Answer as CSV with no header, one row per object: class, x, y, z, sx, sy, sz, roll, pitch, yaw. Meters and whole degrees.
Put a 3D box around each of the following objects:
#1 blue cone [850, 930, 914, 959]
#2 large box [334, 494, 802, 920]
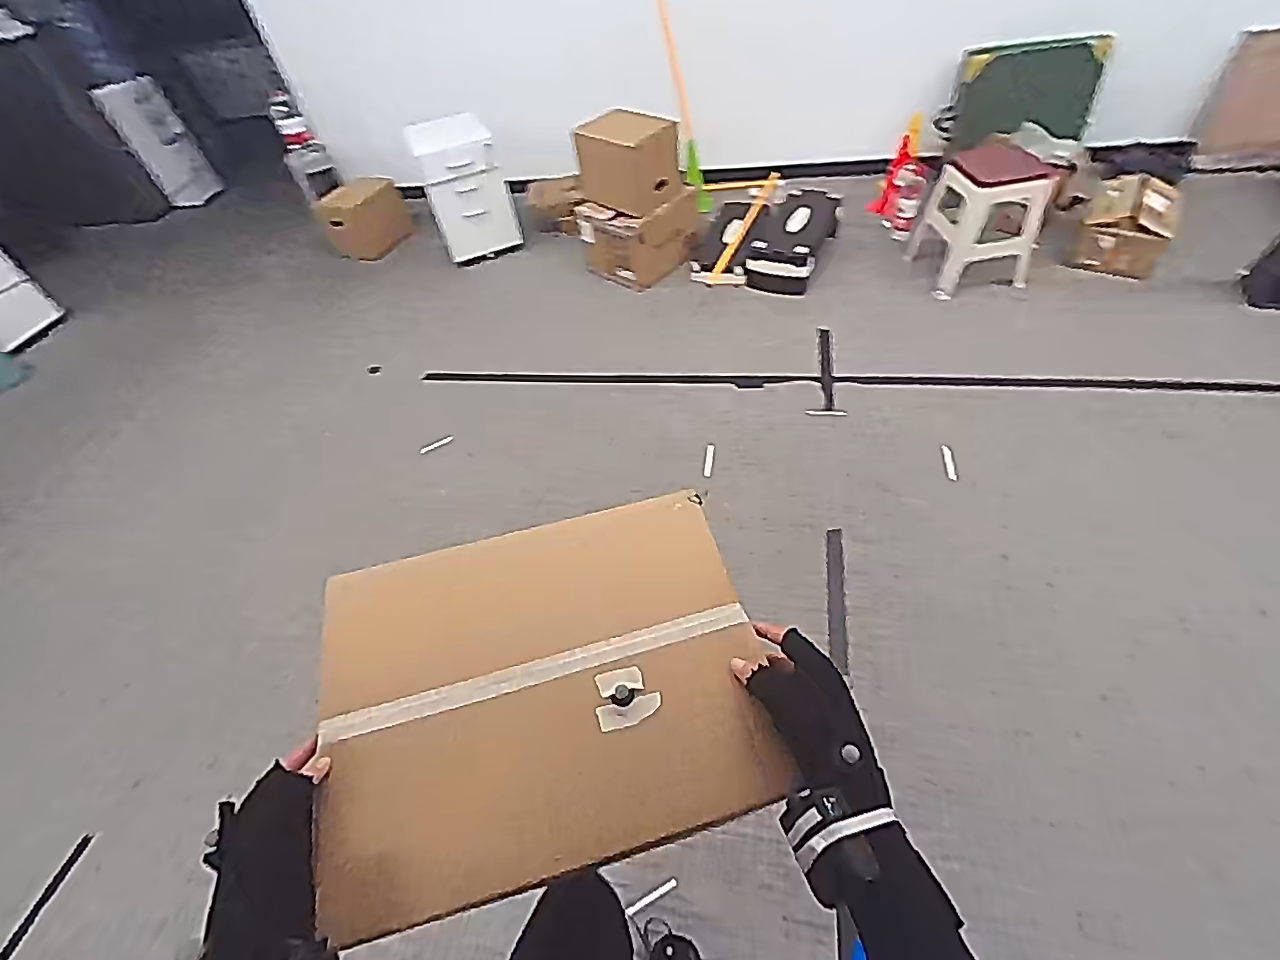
blue cone,0.464,0.894,0.894,0.193,0.380,0.192,22,57,24
large box,-0.084,0.265,0.648,0.408,0.320,0.320,-12,56,-8
